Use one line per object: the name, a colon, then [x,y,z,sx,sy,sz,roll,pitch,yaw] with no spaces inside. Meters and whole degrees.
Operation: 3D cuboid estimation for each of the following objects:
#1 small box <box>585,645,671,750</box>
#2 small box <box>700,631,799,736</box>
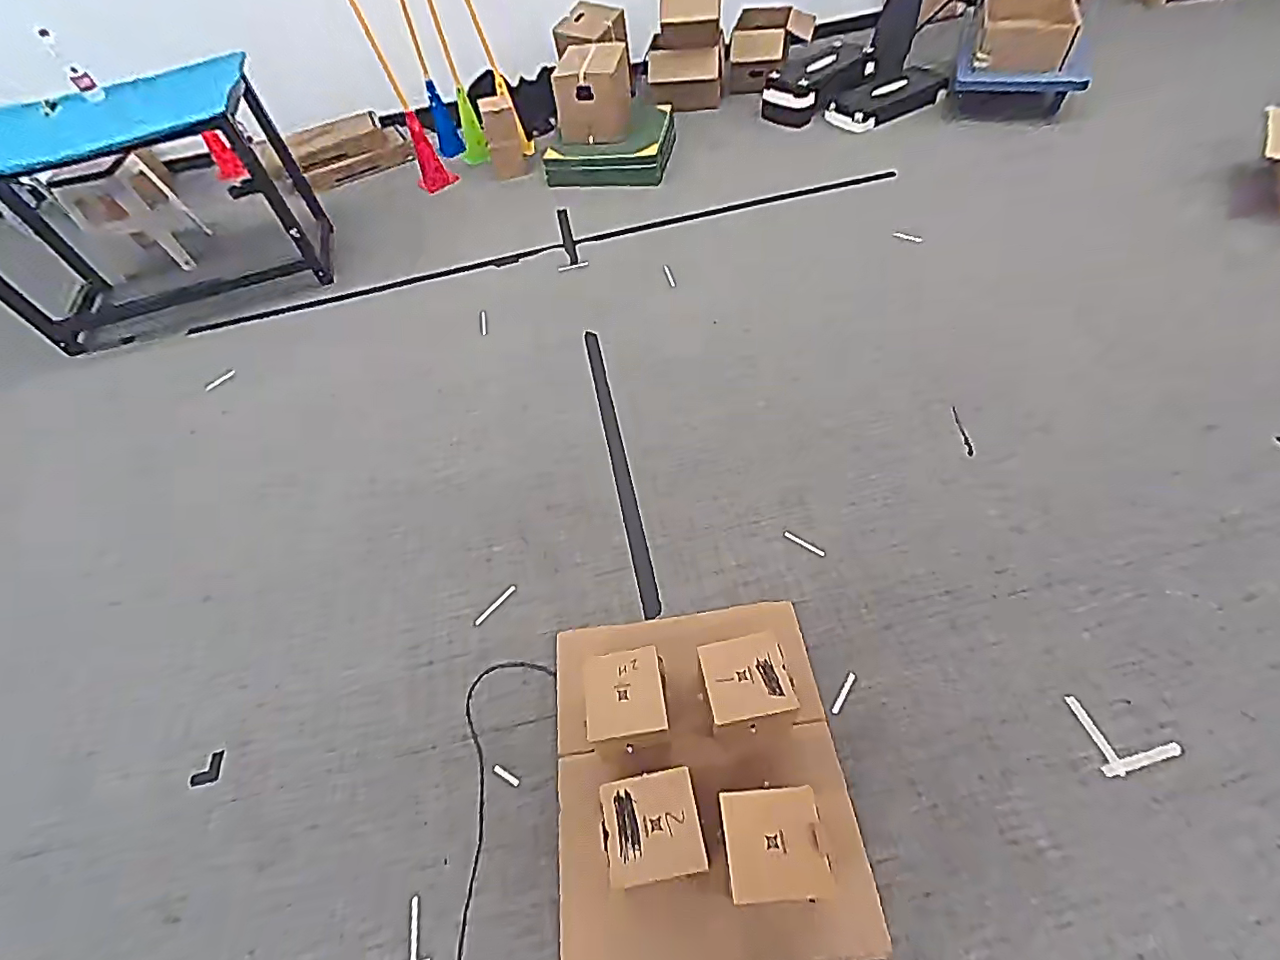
small box: [-0.024,0.489,1.203,0.168,0.176,0.179,-8,53,0]
small box: [0.232,0.453,1.196,0.179,0.176,0.168,-10,54,0]
